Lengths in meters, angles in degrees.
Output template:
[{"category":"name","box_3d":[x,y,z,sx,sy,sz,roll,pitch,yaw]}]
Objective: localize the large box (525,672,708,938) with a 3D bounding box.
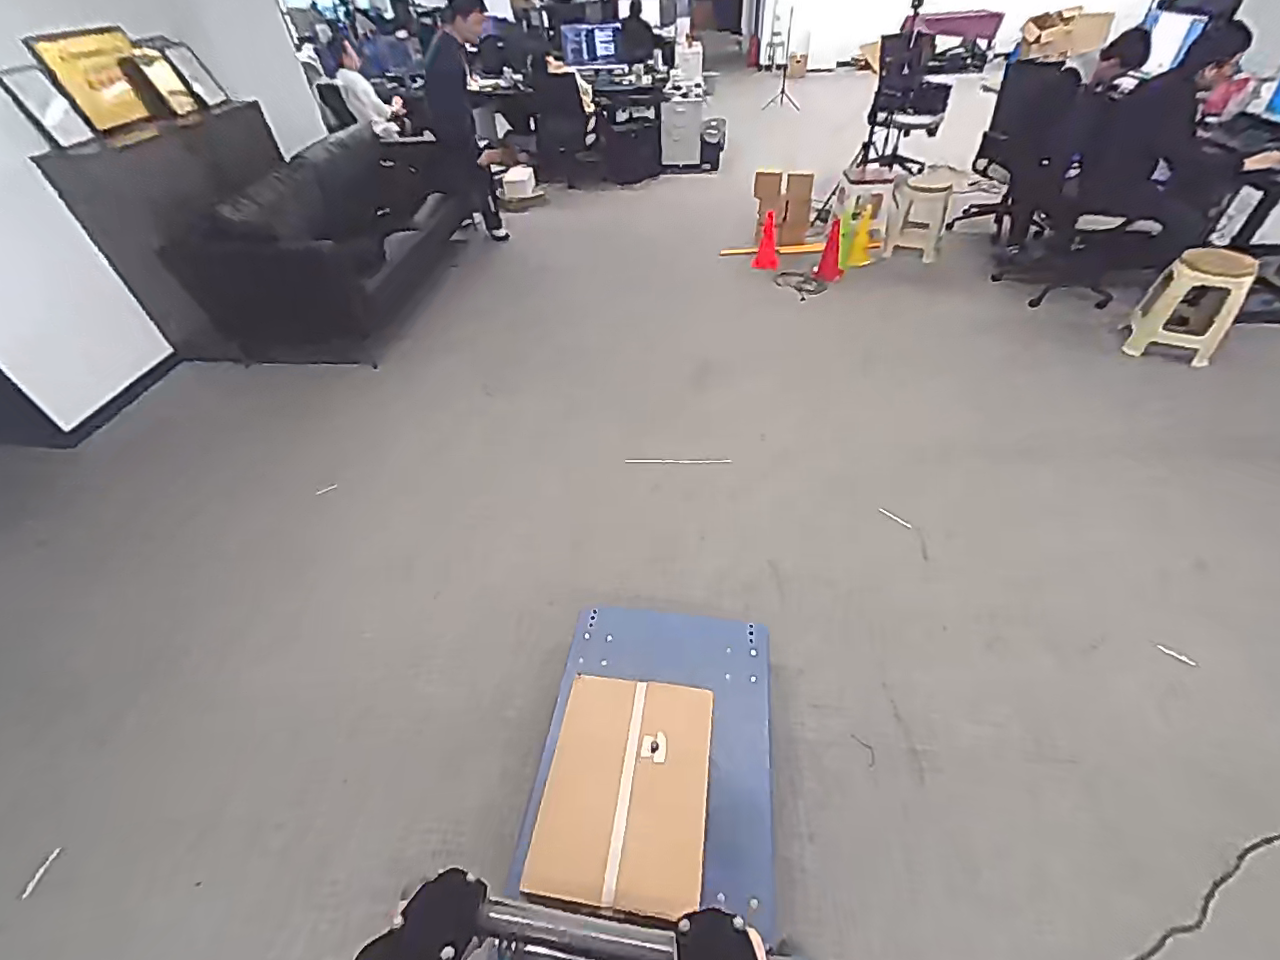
[{"category":"large box","box_3d":[-0.018,0.692,1.172,0.320,0.320,0.408,4,43,8]}]
